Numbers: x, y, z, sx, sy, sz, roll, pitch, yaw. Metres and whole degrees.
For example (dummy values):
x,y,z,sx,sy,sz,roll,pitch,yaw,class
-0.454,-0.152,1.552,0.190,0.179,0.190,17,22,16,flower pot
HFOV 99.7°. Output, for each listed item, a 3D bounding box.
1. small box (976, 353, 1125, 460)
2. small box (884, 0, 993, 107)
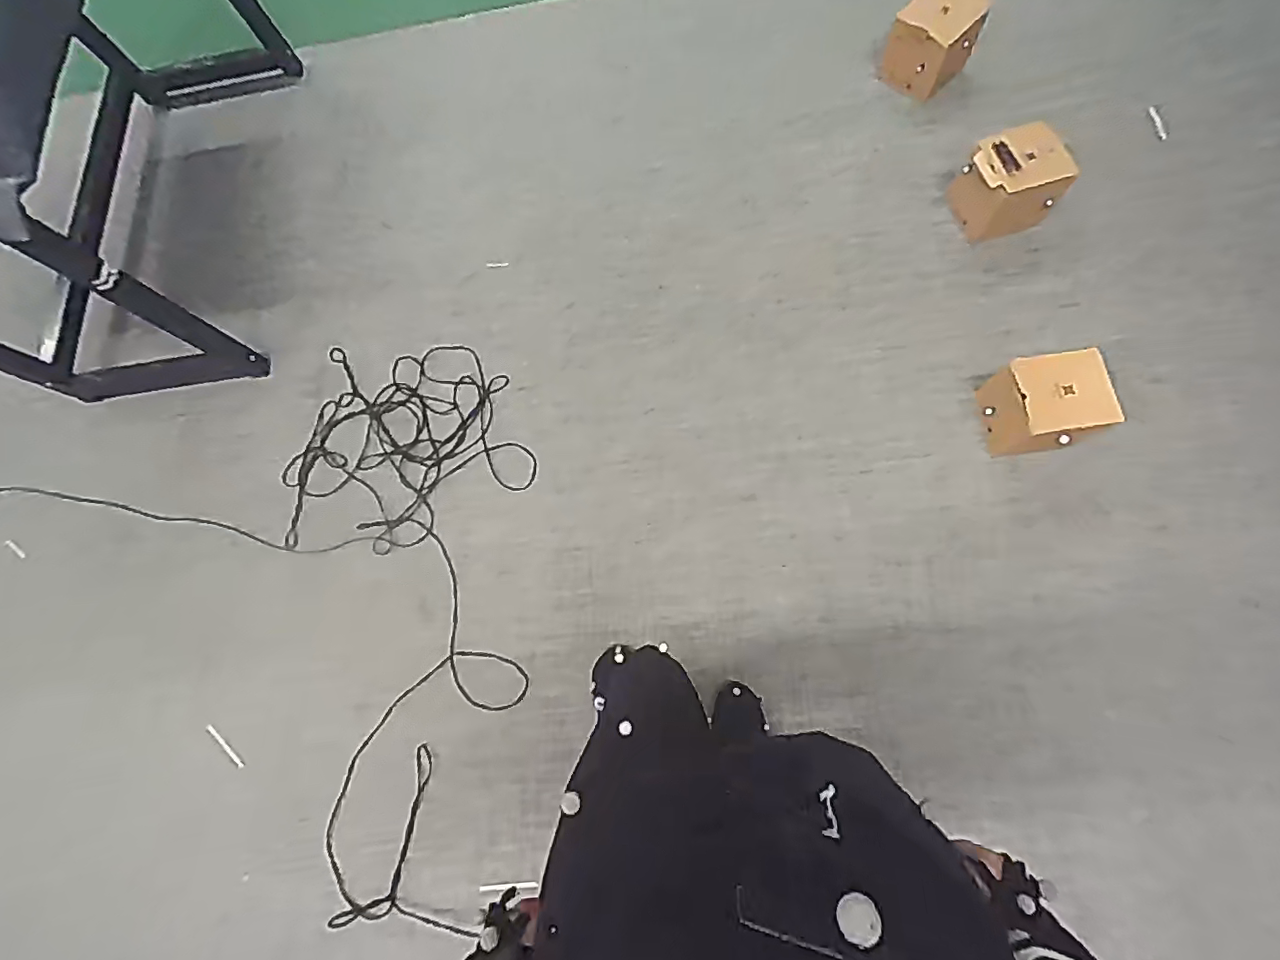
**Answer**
x,y,z,sx,sy,sz,roll,pitch,yaw,class
0.872,-0.152,1.167,0.179,0.176,0.168,-8,74,5,small box
0.790,-1.161,1.456,0.179,0.176,0.168,-44,75,-7,small box
